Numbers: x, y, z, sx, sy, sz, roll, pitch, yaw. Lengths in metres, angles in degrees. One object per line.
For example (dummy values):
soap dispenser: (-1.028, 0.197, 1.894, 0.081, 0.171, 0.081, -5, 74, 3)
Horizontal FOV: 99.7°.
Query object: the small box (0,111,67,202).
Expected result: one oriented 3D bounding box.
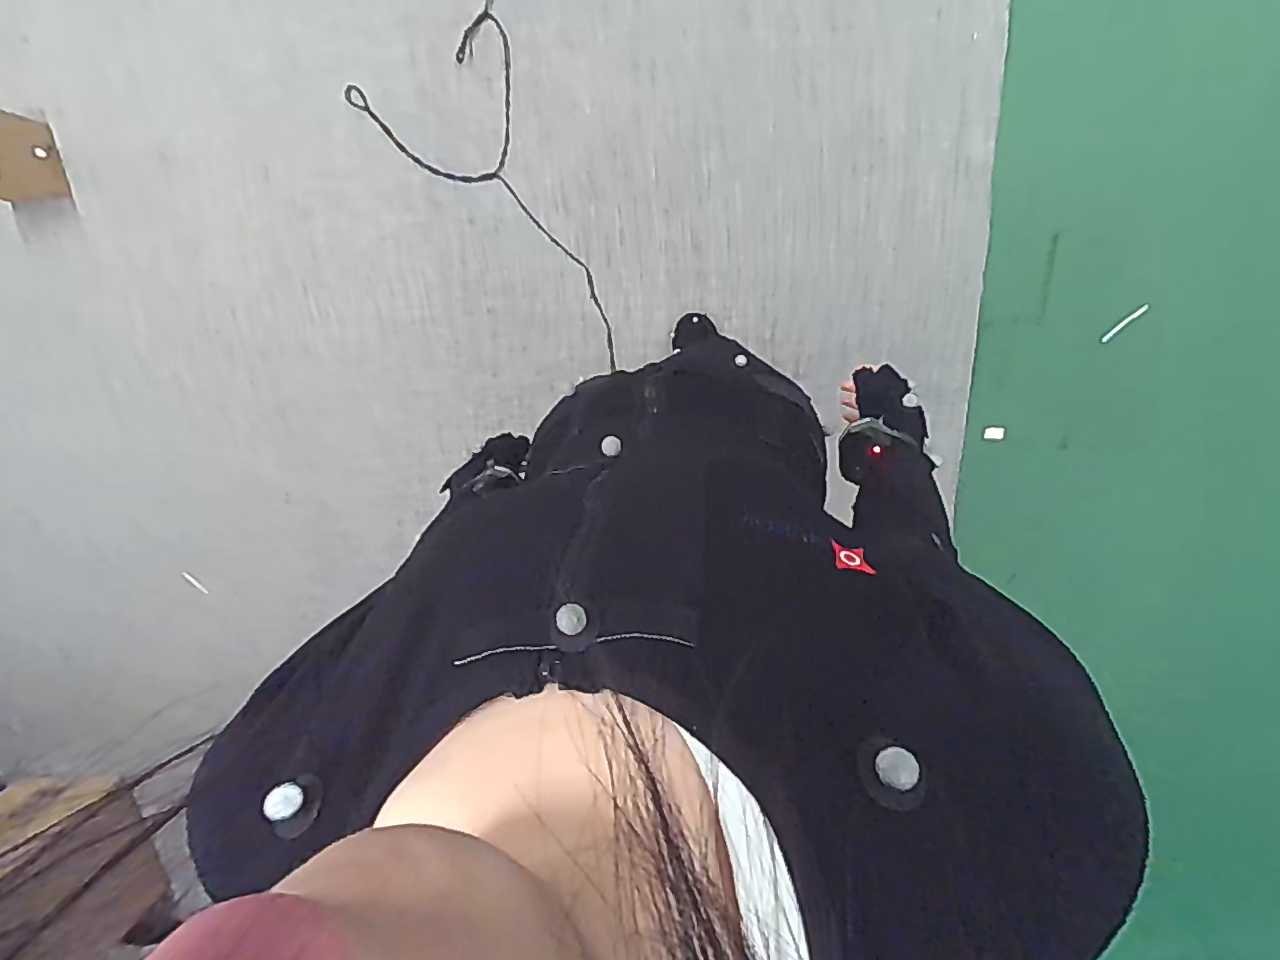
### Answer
small box: (-1.570, -0.784, 1.304, 0.179, 0.176, 0.168, -4, 107, 5)
